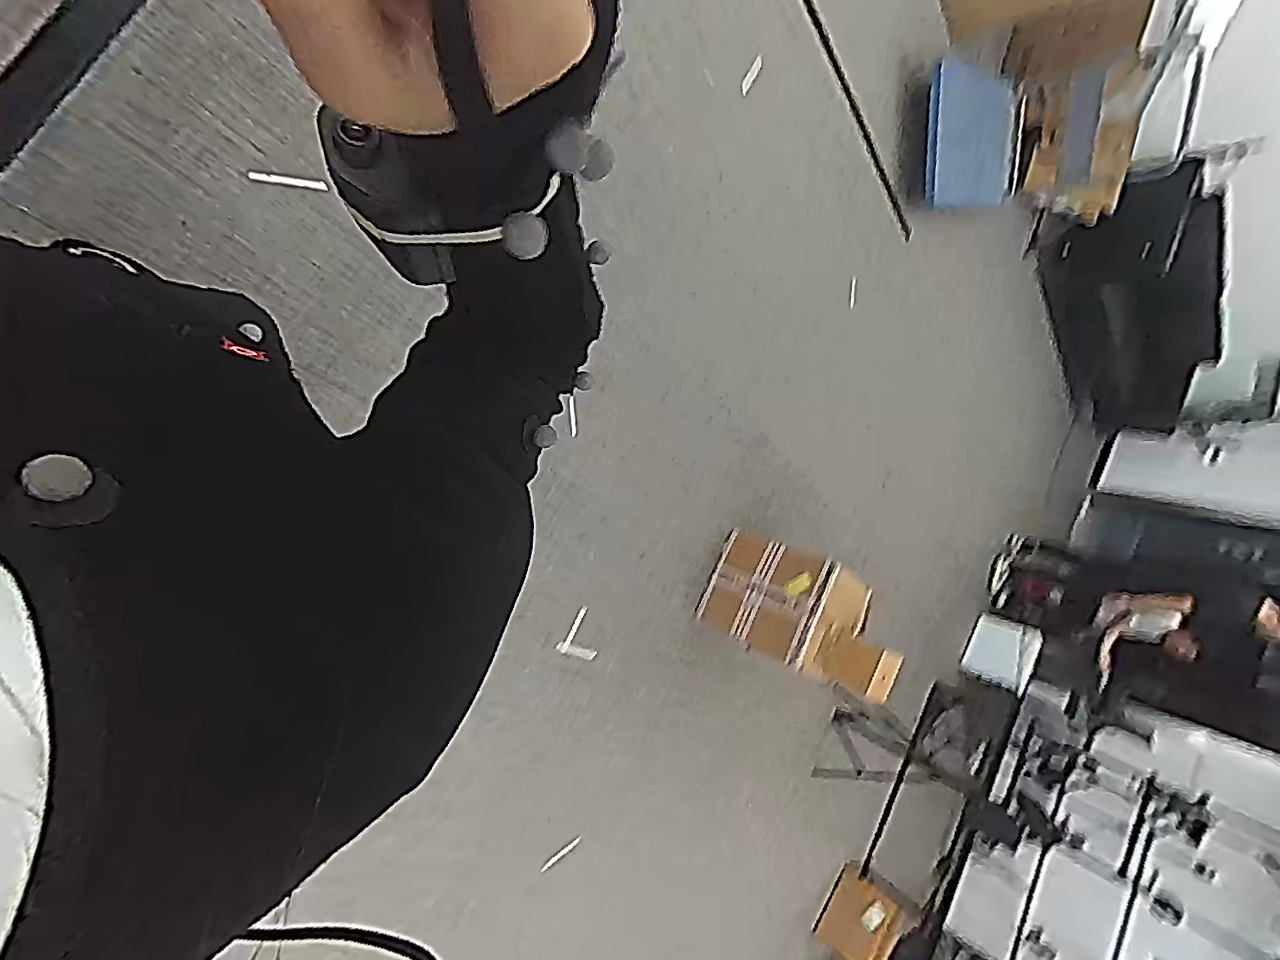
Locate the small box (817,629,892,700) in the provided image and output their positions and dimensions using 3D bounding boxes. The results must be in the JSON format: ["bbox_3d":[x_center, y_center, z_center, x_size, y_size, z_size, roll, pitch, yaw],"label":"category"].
[{"bbox_3d":[0.767,0.660,1.942,0.168,0.176,0.179,30,83,-39],"label":"small box"}]
